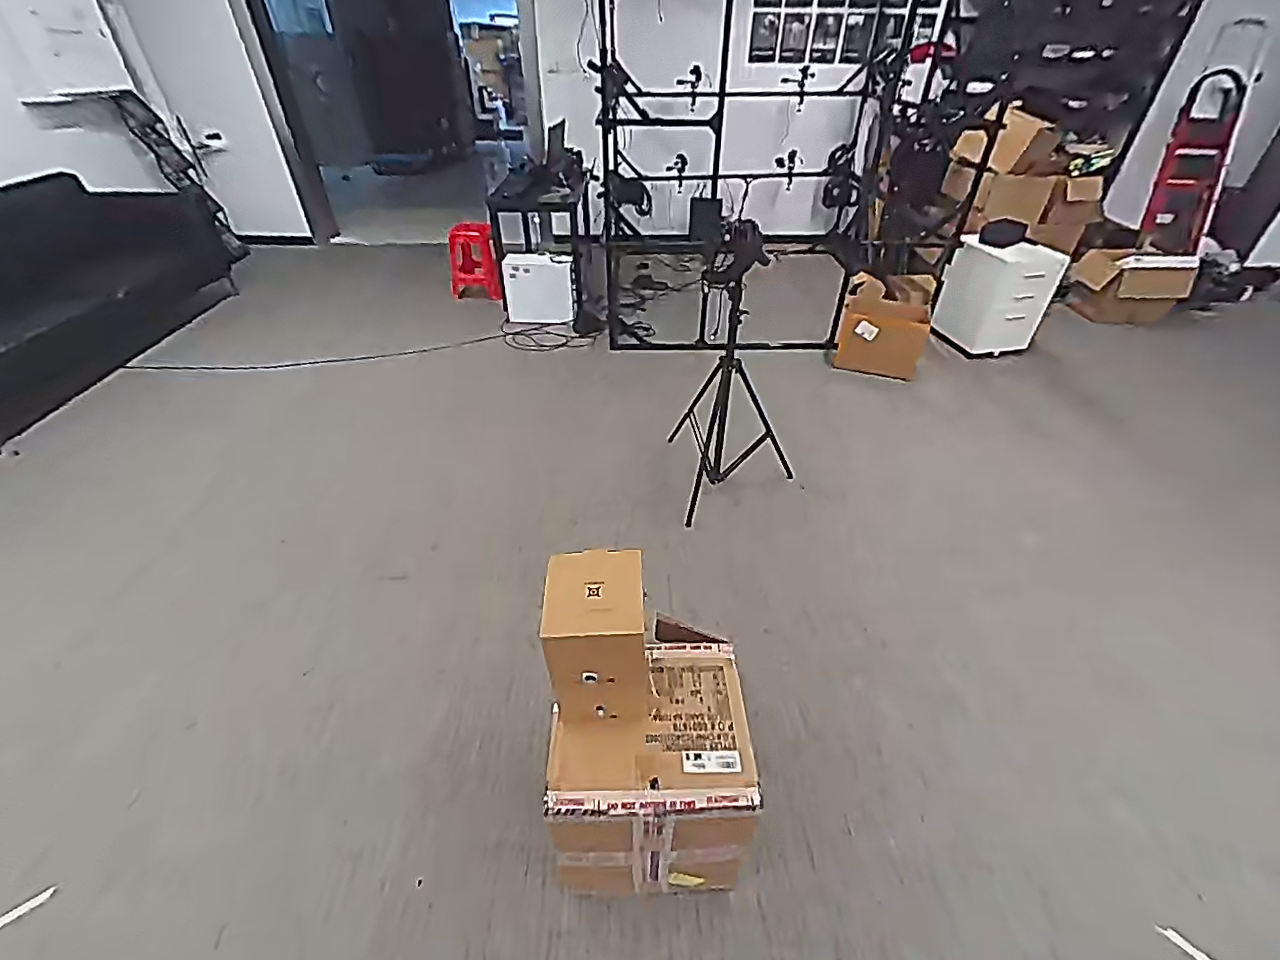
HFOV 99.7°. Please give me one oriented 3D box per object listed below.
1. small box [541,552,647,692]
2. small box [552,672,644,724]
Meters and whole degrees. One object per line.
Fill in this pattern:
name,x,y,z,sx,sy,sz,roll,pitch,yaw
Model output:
small box,-0.073,0.248,0.950,0.168,0.176,0.179,-3,42,0
small box,-0.076,0.358,1.072,0.168,0.176,0.179,-2,41,-1
